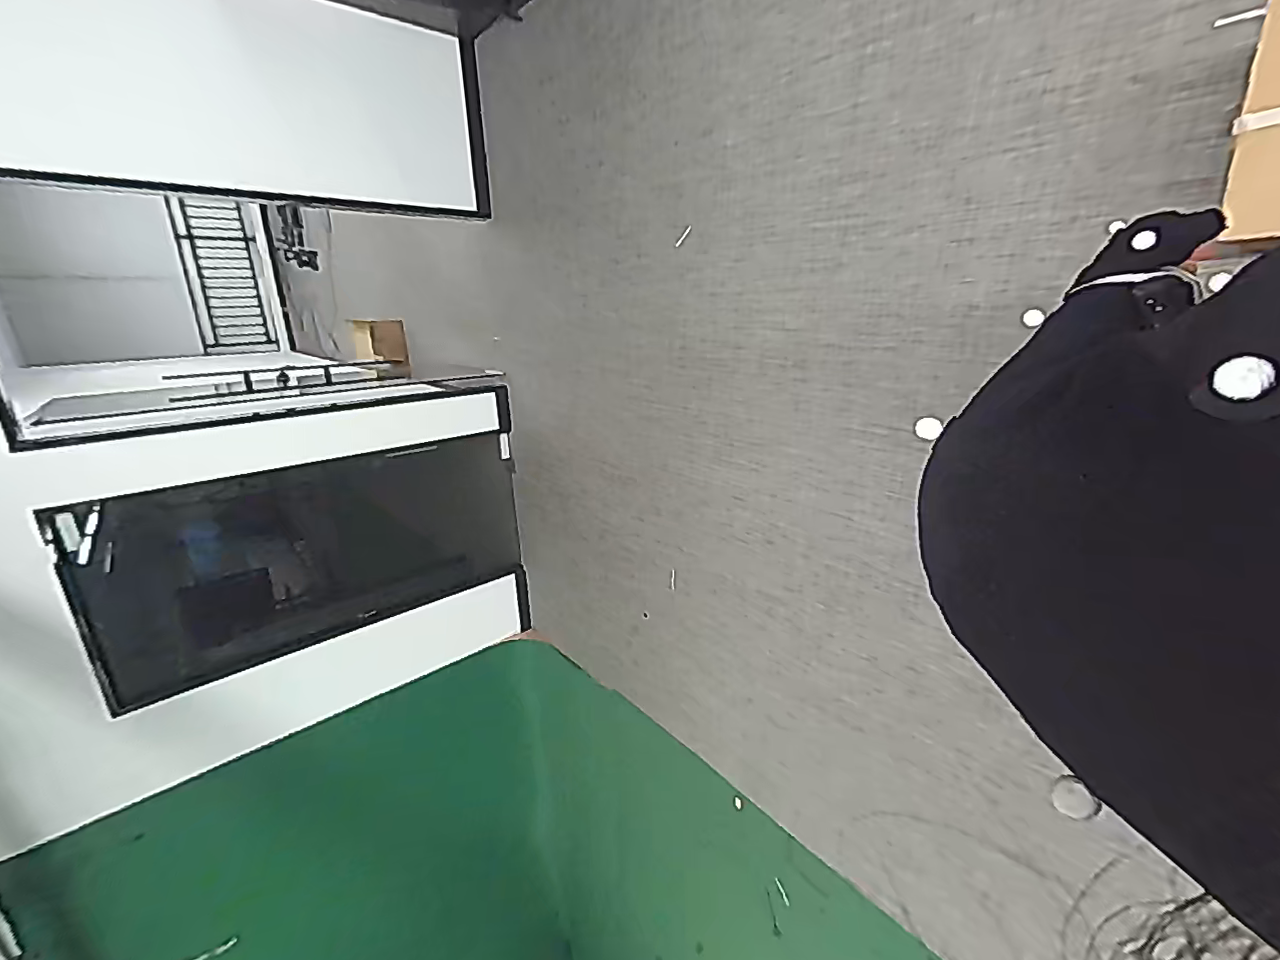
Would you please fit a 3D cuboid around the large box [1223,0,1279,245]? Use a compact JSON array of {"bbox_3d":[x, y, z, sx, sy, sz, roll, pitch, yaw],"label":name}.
[{"bbox_3d":[1.090,-0.510,0.705,0.408,0.320,0.320,15,114,48],"label":"large box"}]
